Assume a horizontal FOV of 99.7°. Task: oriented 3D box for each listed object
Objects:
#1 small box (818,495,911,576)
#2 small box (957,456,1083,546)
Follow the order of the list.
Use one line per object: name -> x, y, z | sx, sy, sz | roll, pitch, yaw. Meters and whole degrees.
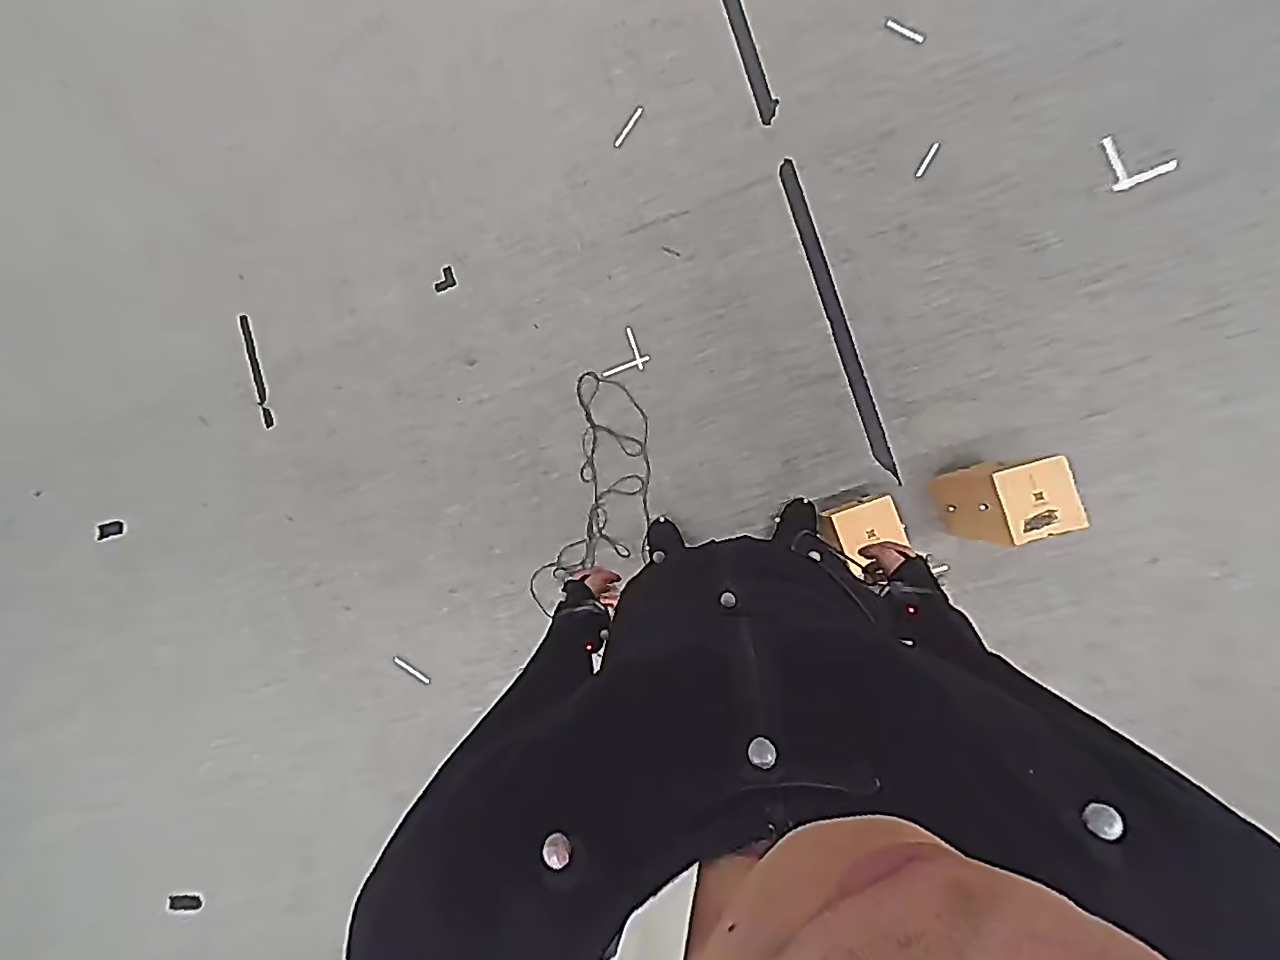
small box -> 0.618, 0.152, 1.515 | 0.168, 0.176, 0.179 | -21, 87, 6
small box -> 0.914, 0.049, 1.316 | 0.168, 0.176, 0.179 | -17, 86, 5
